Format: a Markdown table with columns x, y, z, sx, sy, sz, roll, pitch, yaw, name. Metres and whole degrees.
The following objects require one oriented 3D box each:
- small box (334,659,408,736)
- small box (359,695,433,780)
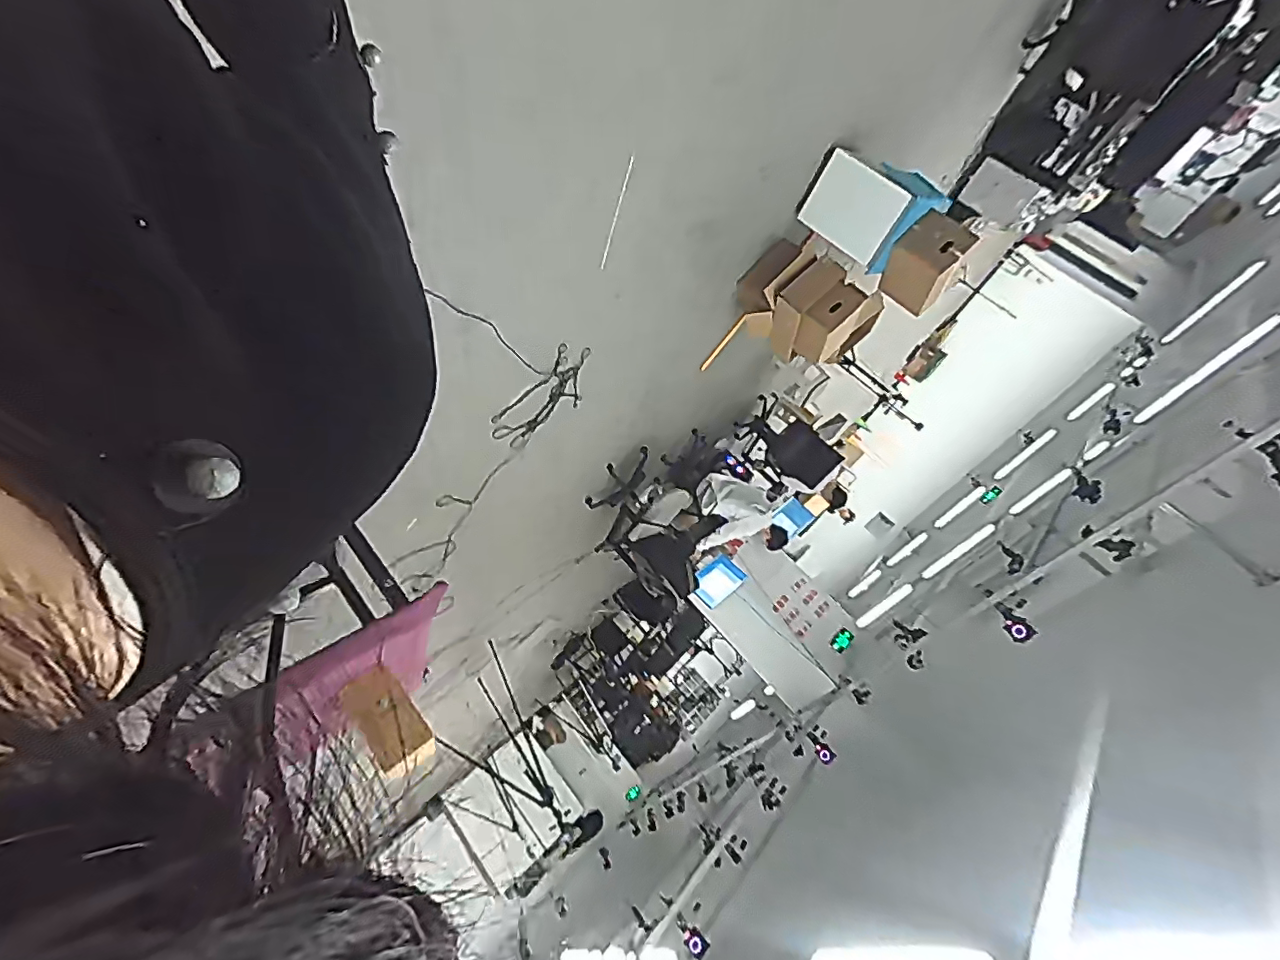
| x | y | z | sx | sy | sz | roll | pitch | yaw | name |
| --- | --- | --- | --- | --- | --- | --- | --- | --- | --- |
| -0.931 | 0.756 | 1.882 | 0.179 | 0.176 | 0.168 | -30 | 157 | -36 | small box |
| -0.827 | 0.866 | 1.826 | 0.179 | 0.176 | 0.168 | -32 | 158 | -35 | small box |
